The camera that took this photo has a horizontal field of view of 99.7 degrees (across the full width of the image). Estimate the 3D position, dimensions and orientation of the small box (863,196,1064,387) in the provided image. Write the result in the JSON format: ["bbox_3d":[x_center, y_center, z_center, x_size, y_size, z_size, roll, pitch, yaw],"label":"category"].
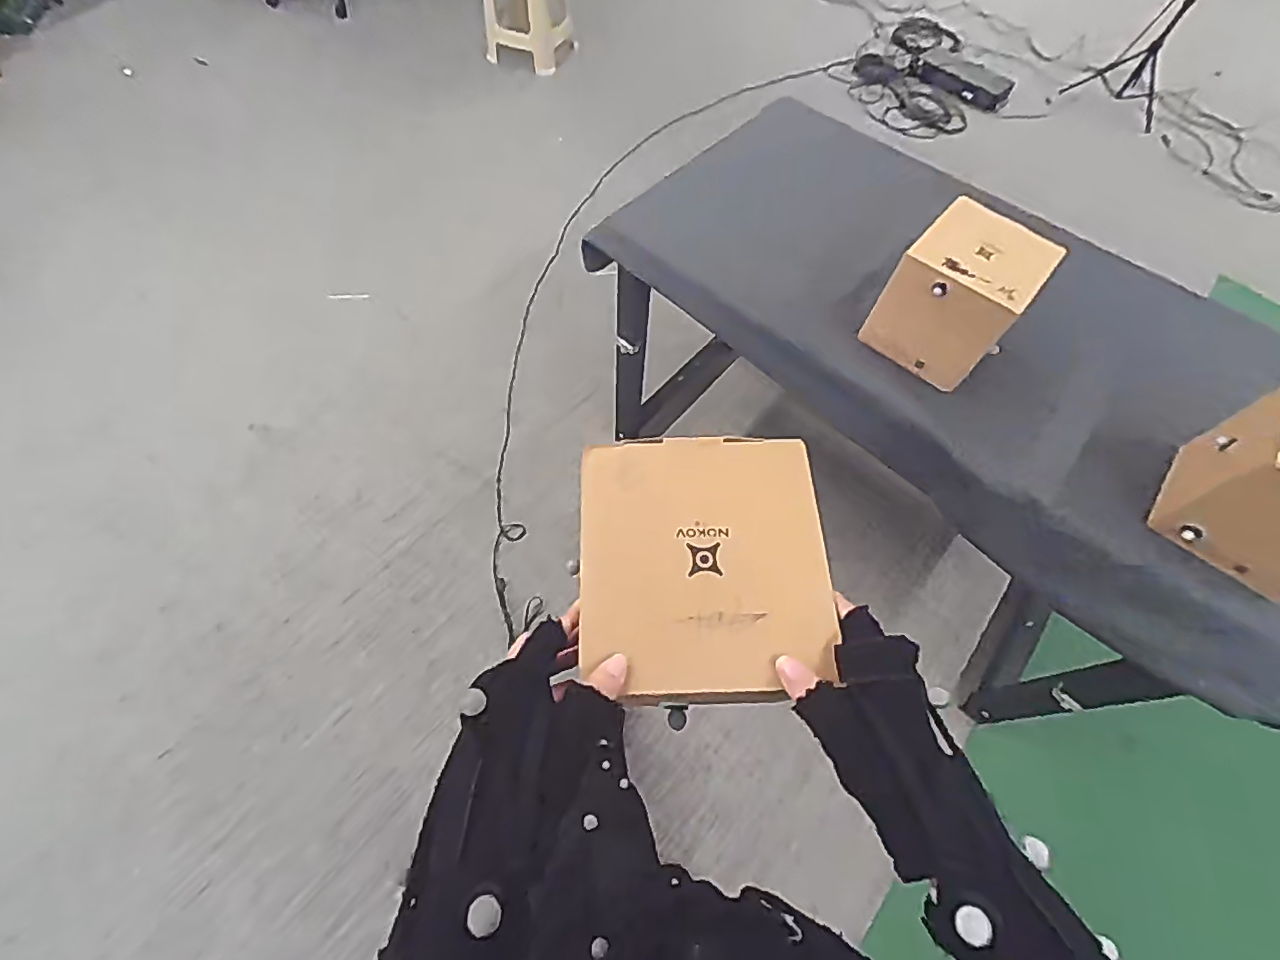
[{"bbox_3d":[0.469,-0.276,0.808,0.168,0.176,0.179,39,65,16],"label":"small box"}]

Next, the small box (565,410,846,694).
[{"bbox_3d":[0.038,0.065,0.418,0.168,0.176,0.179,1,66,0],"label":"small box"}]

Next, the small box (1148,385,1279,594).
[{"bbox_3d":[0.801,0.014,0.675,0.168,0.176,0.179,39,65,16],"label":"small box"}]
